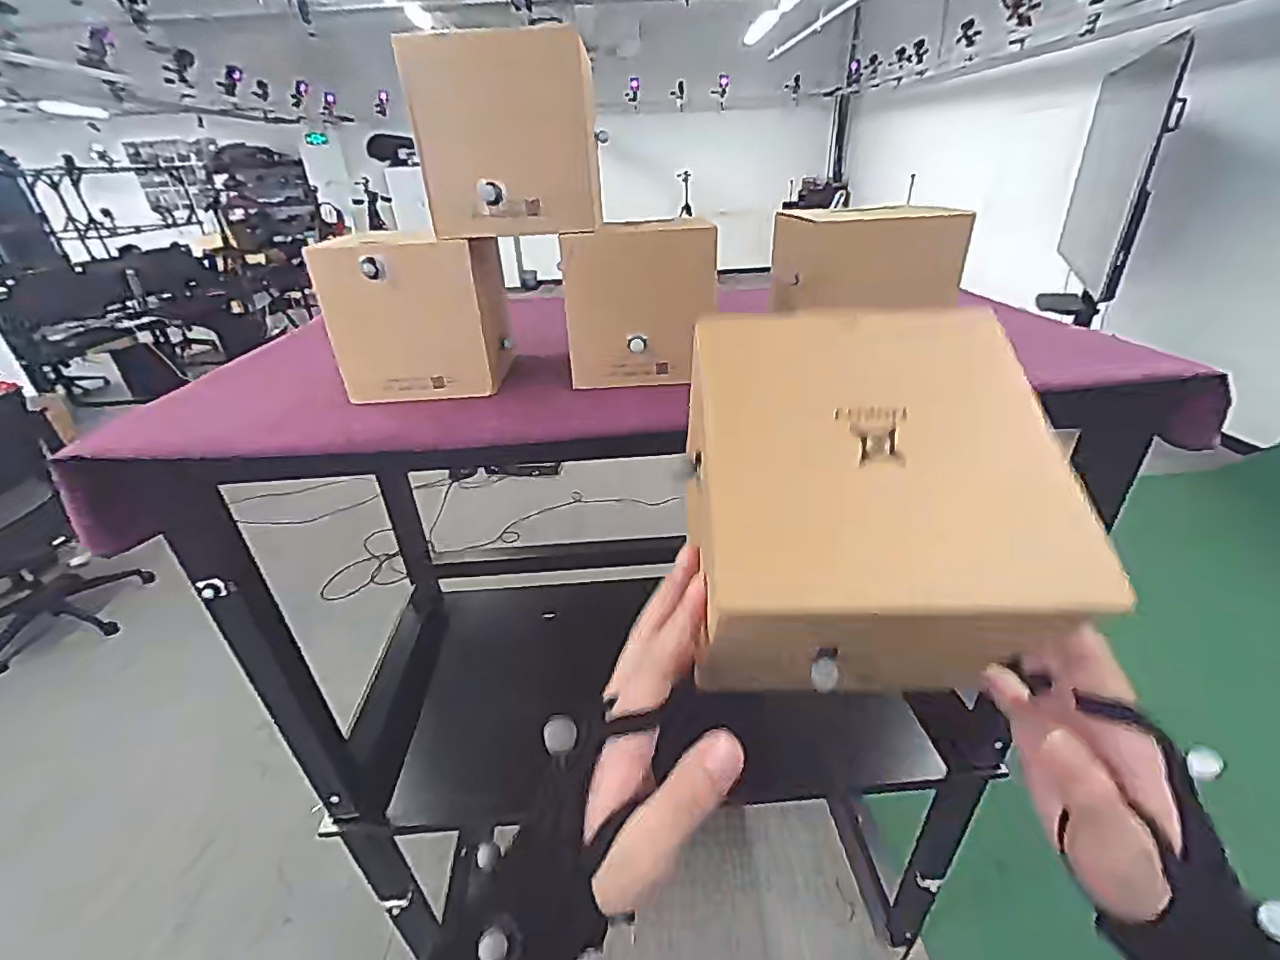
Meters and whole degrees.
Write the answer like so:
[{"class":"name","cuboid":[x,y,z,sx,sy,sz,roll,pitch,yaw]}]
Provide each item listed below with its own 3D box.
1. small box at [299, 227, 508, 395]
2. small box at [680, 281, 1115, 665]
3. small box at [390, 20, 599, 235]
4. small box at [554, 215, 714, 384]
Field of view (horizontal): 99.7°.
[{"class":"small box","cuboid":[-0.260,-0.207,0.647,0.168,0.176,0.179,-4,28,-2]},{"class":"small box","cuboid":[0.110,0.008,0.326,0.168,0.176,0.179,-1,58,2]},{"class":"small box","cuboid":[-0.135,-0.360,0.577,0.168,0.176,0.179,-3,29,1]},{"class":"small box","cuboid":[-0.007,-0.223,0.657,0.168,0.176,0.179,-3,29,-1]}]
